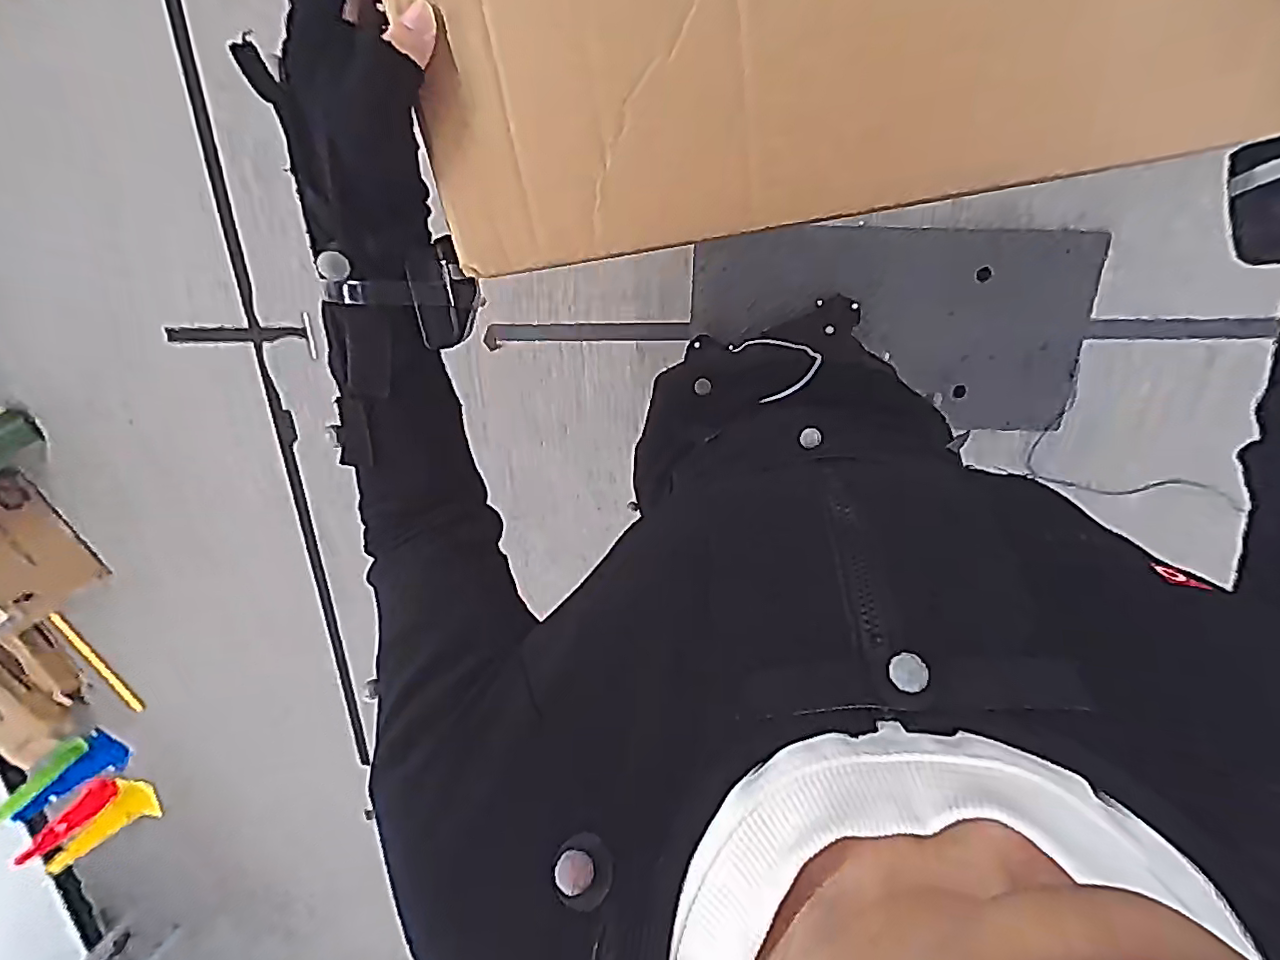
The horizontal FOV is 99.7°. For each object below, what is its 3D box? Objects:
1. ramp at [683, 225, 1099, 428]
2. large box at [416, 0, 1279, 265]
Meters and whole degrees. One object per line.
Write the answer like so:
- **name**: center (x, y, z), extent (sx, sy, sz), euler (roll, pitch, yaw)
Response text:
- **ramp**: center (0.612, -0.373, 1.364), extent (0.991, 0.206, 0.509), euler (2, 107, 8)
- **large box**: center (0.091, -0.349, 0.363), extent (0.408, 0.320, 0.320), euler (-6, 115, 9)
